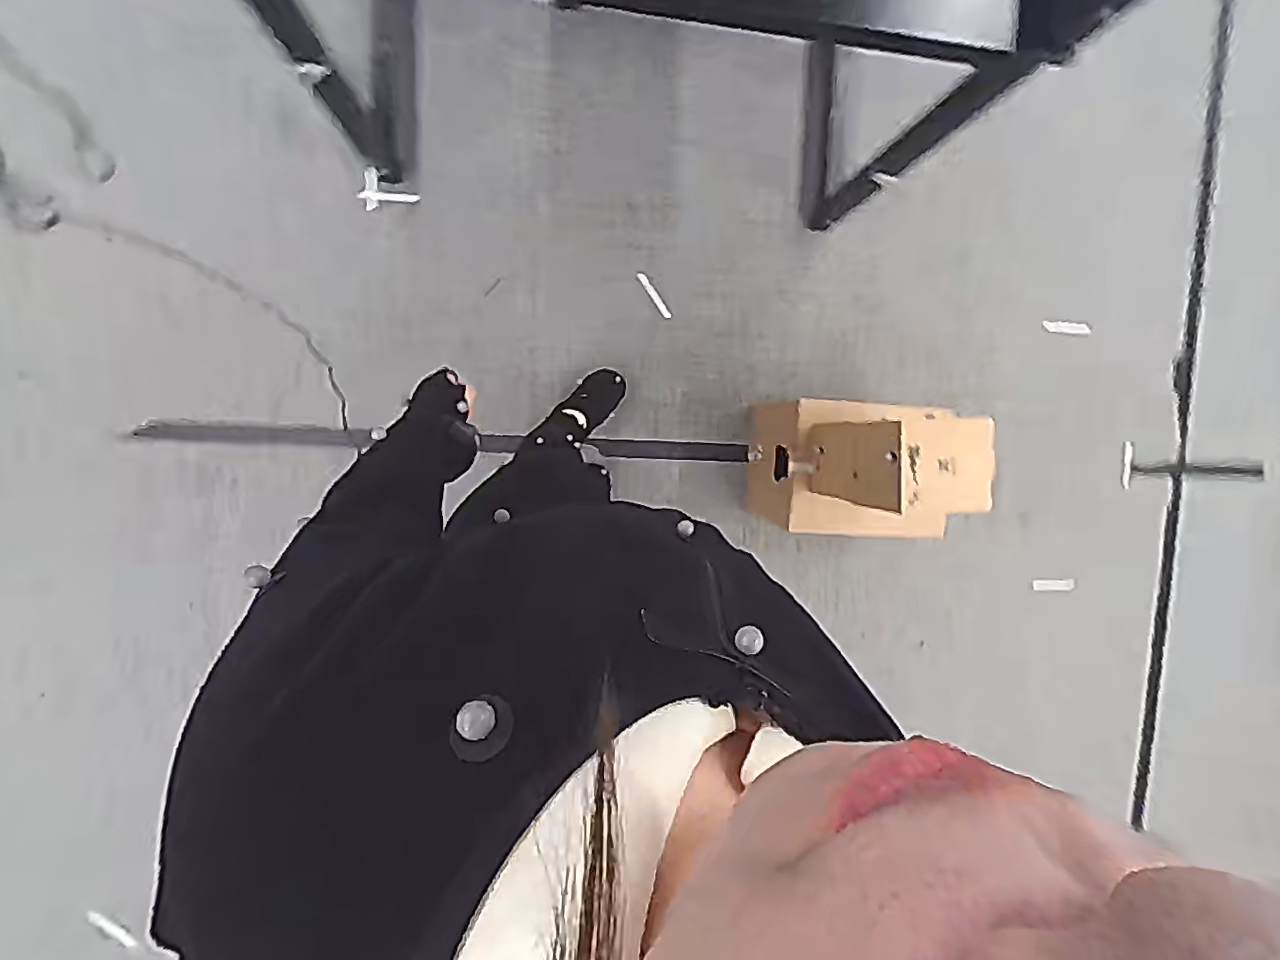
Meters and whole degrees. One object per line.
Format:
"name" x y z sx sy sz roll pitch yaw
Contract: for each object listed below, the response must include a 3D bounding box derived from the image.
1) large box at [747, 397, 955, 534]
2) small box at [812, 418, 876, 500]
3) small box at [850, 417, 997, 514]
"large box" 0.524 -0.043 1.415 0.408 0.320 0.320 3 96 -9
"small box" 0.494 -0.045 1.162 0.179 0.176 0.168 2 94 -8
"small box" 0.516 -0.031 1.000 0.179 0.176 0.168 -1 94 -9
